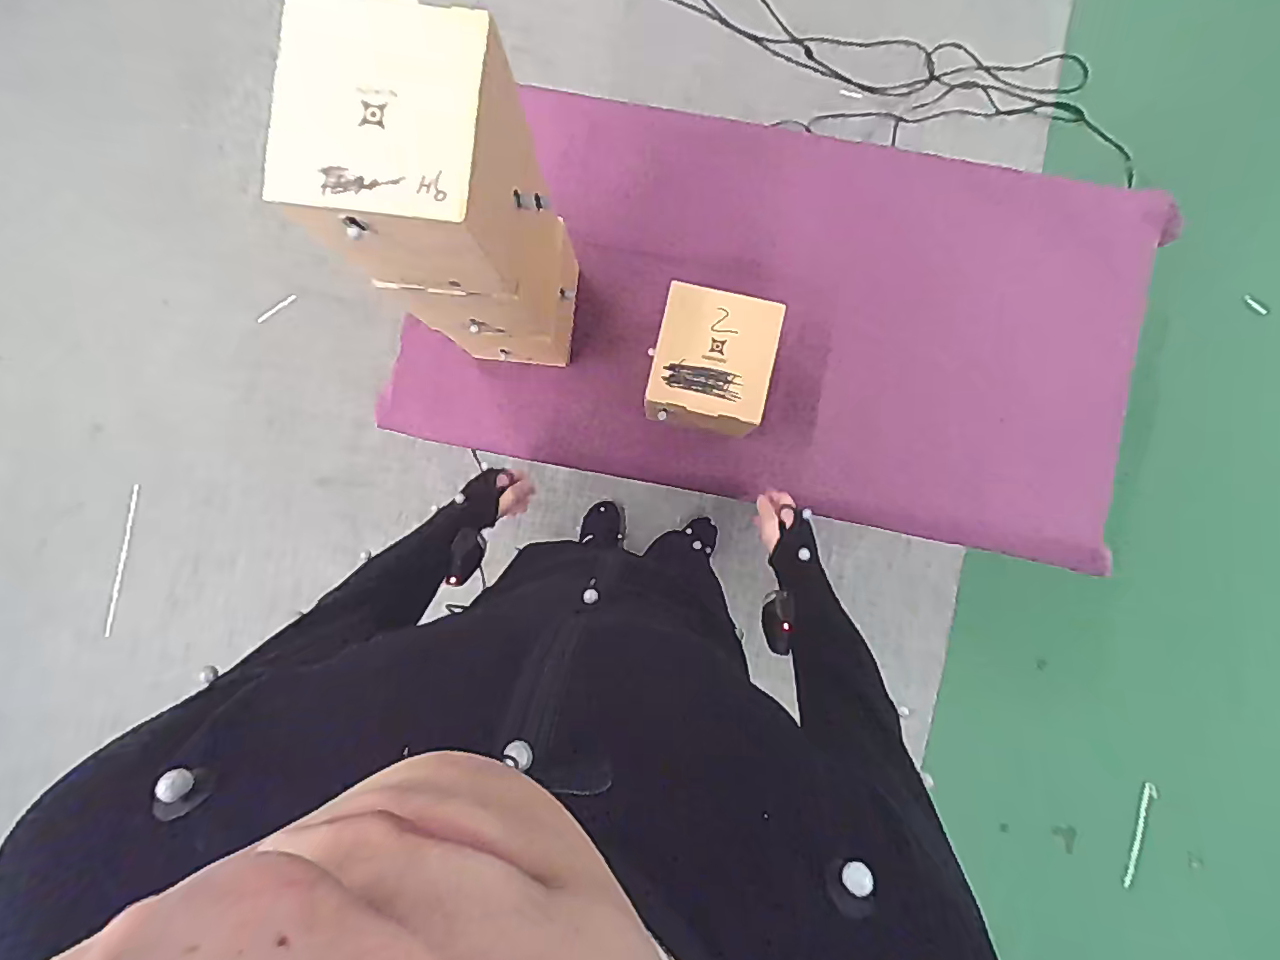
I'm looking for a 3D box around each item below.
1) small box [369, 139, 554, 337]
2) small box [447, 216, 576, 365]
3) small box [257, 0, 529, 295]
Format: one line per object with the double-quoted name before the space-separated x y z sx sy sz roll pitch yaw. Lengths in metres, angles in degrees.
"small box" -0.205 -0.292 0.669 0.168 0.176 0.179 5 89 1
"small box" -0.196 -0.289 0.834 0.168 0.176 0.179 6 90 1
"small box" -0.208 -0.297 0.505 0.168 0.176 0.179 7 89 1
